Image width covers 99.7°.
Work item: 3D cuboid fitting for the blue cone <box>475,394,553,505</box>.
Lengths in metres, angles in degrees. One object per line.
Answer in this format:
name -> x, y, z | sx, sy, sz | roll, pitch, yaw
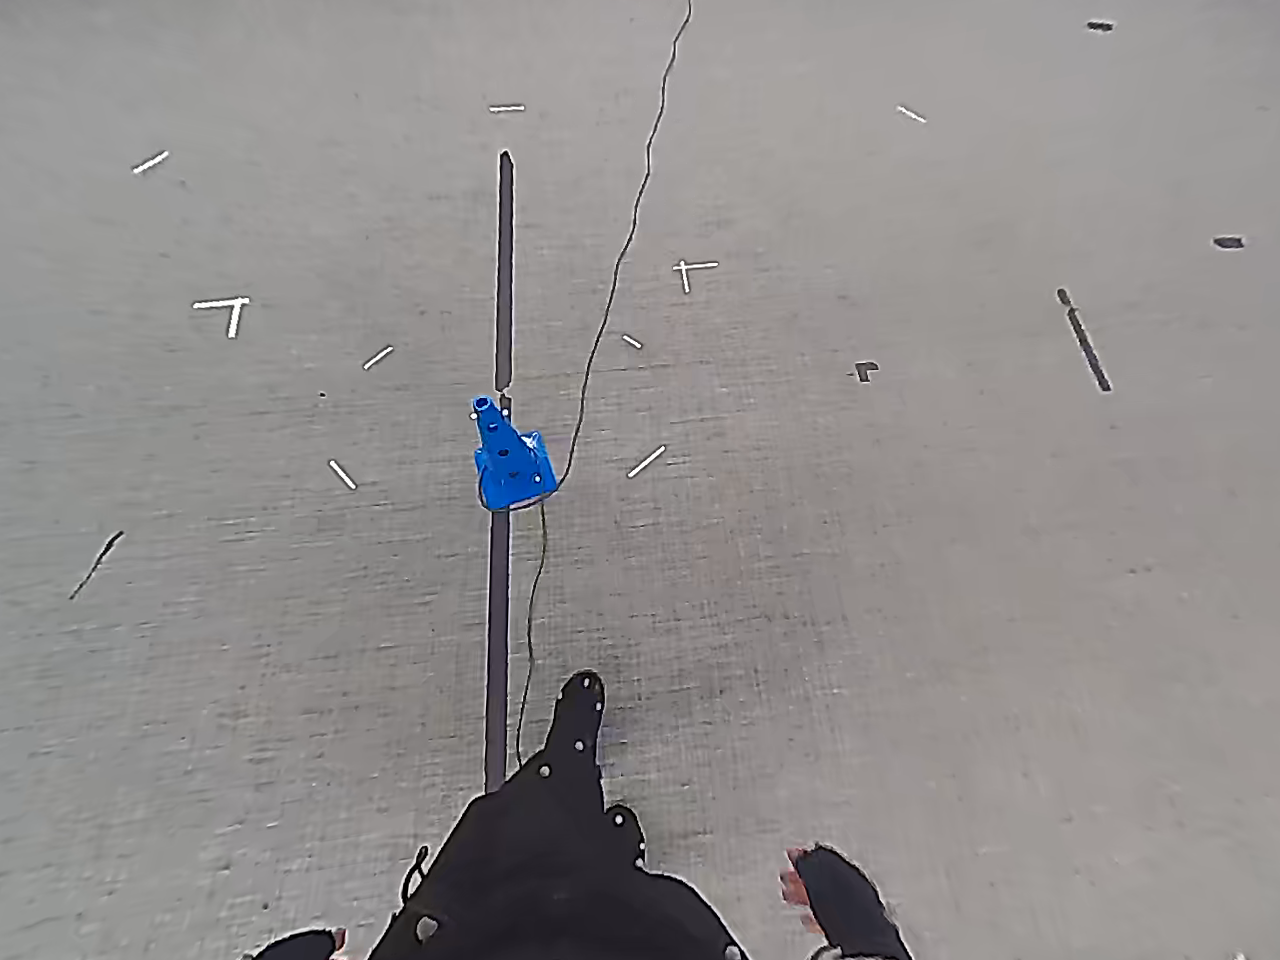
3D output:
blue cone -> -0.351, -0.106, 1.356 | 0.193, 0.380, 0.192 | -19, 68, -10
